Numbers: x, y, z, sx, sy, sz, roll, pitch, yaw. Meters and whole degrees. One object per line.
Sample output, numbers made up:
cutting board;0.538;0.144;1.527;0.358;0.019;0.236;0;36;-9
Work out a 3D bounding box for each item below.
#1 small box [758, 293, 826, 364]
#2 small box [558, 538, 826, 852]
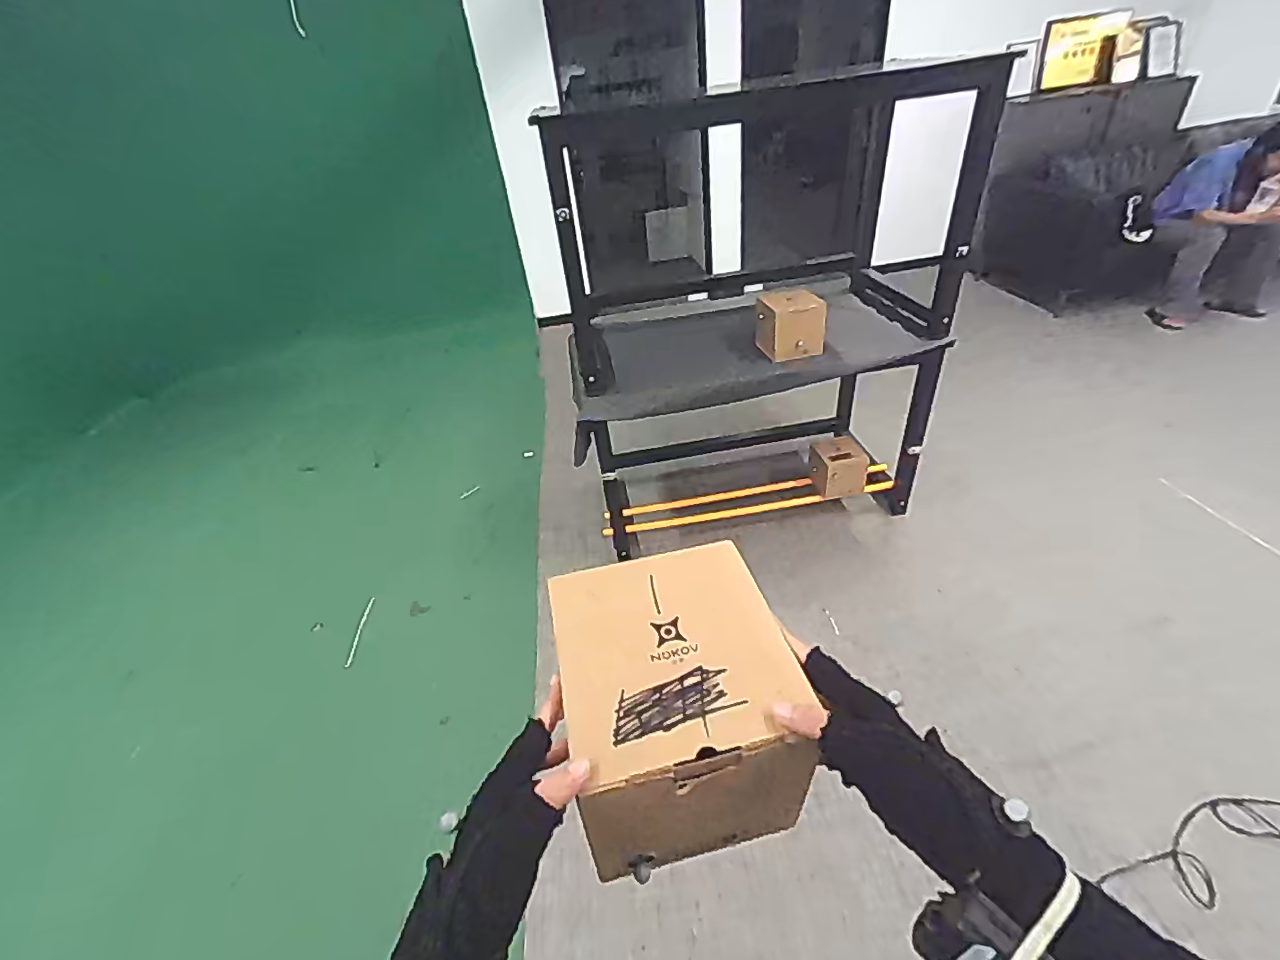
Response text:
small box;0.492;-0.499;1.781;0.168;0.176;0.179;-11;36;-5
small box;0.031;0.179;0.453;0.168;0.176;0.179;-9;38;-8
